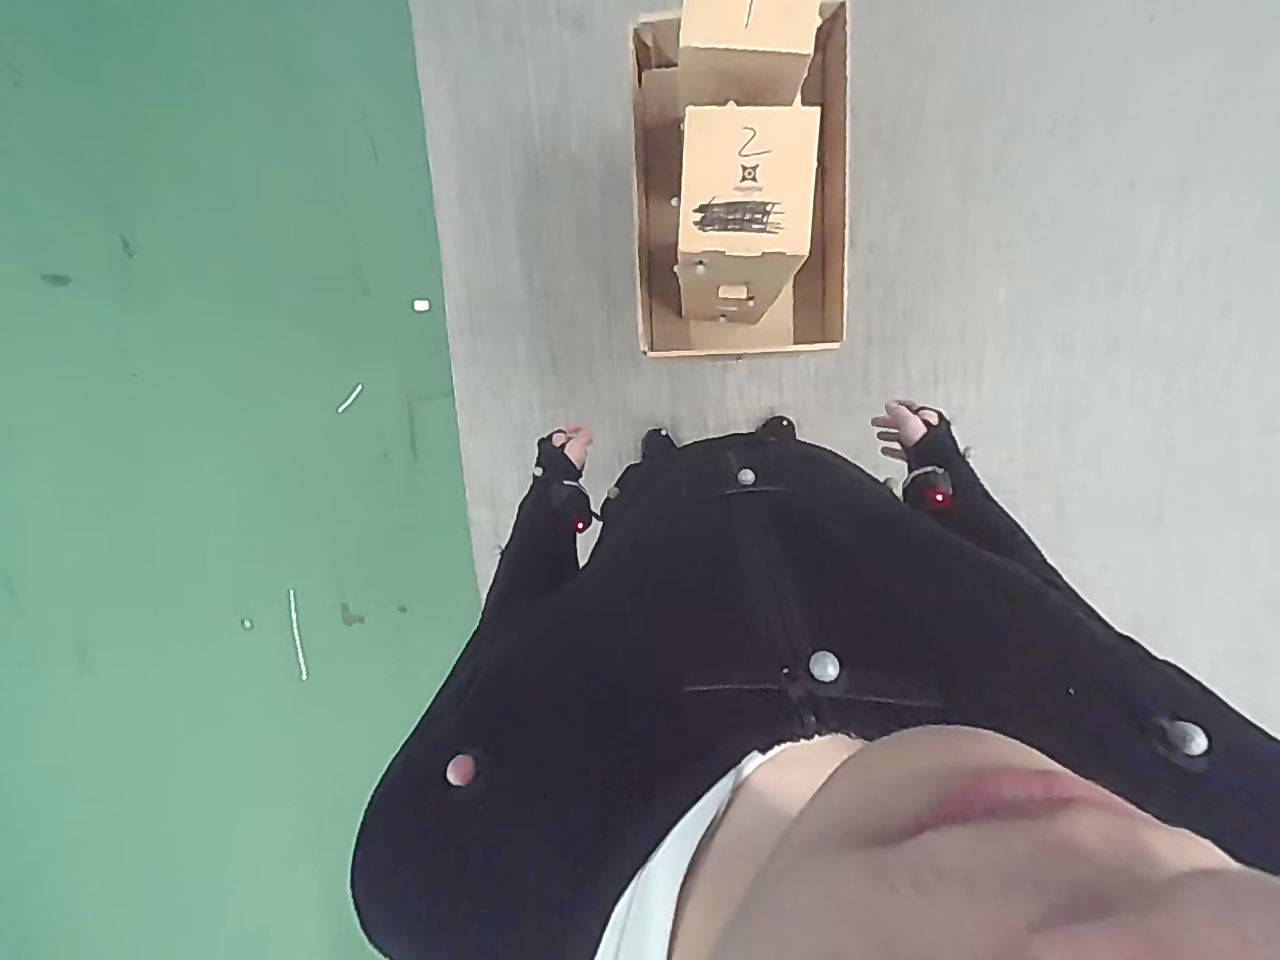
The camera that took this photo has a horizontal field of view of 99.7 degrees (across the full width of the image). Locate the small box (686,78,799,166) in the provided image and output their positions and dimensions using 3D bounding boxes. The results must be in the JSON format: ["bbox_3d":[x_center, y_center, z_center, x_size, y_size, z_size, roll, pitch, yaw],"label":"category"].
[{"bbox_3d":[0.158,-0.640,0.881,0.168,0.176,0.179,-3,98,5],"label":"small box"}]

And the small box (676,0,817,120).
[{"bbox_3d":[0.139,-0.621,0.719,0.168,0.176,0.179,7,100,4],"label":"small box"}]

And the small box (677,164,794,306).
[{"bbox_3d":[0.152,-0.398,0.907,0.168,0.176,0.179,4,96,4],"label":"small box"}]
